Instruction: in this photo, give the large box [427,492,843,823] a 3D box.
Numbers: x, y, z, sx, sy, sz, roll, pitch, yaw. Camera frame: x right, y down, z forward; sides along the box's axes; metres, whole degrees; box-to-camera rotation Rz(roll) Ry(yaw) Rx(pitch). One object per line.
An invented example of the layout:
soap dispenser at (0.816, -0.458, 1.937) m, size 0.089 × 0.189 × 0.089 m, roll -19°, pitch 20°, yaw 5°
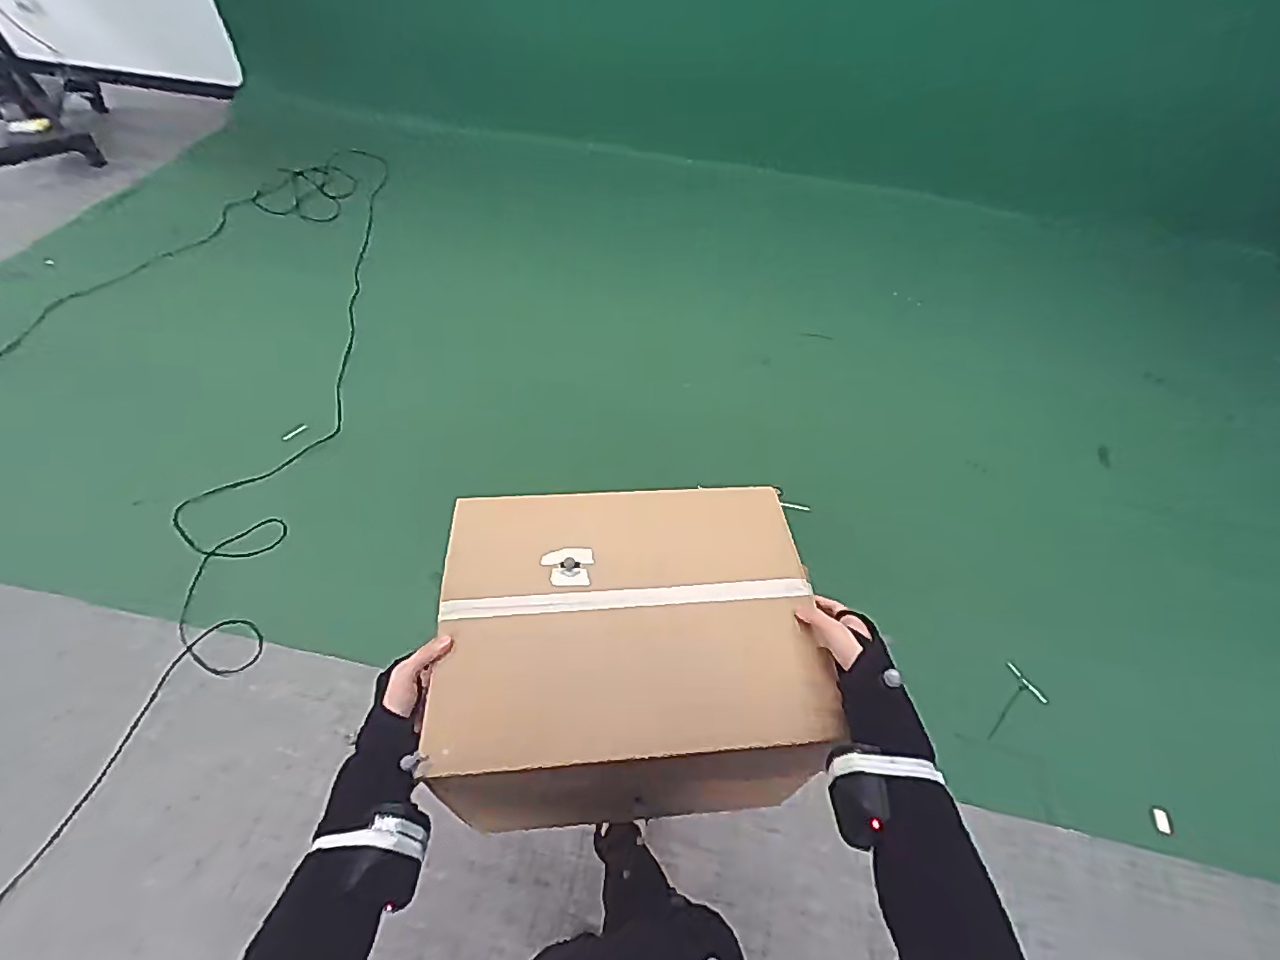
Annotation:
large box at (-0.015, 0.237, 0.715) m, size 0.408 × 0.320 × 0.320 m, roll -2°, pitch 49°, yaw -5°
